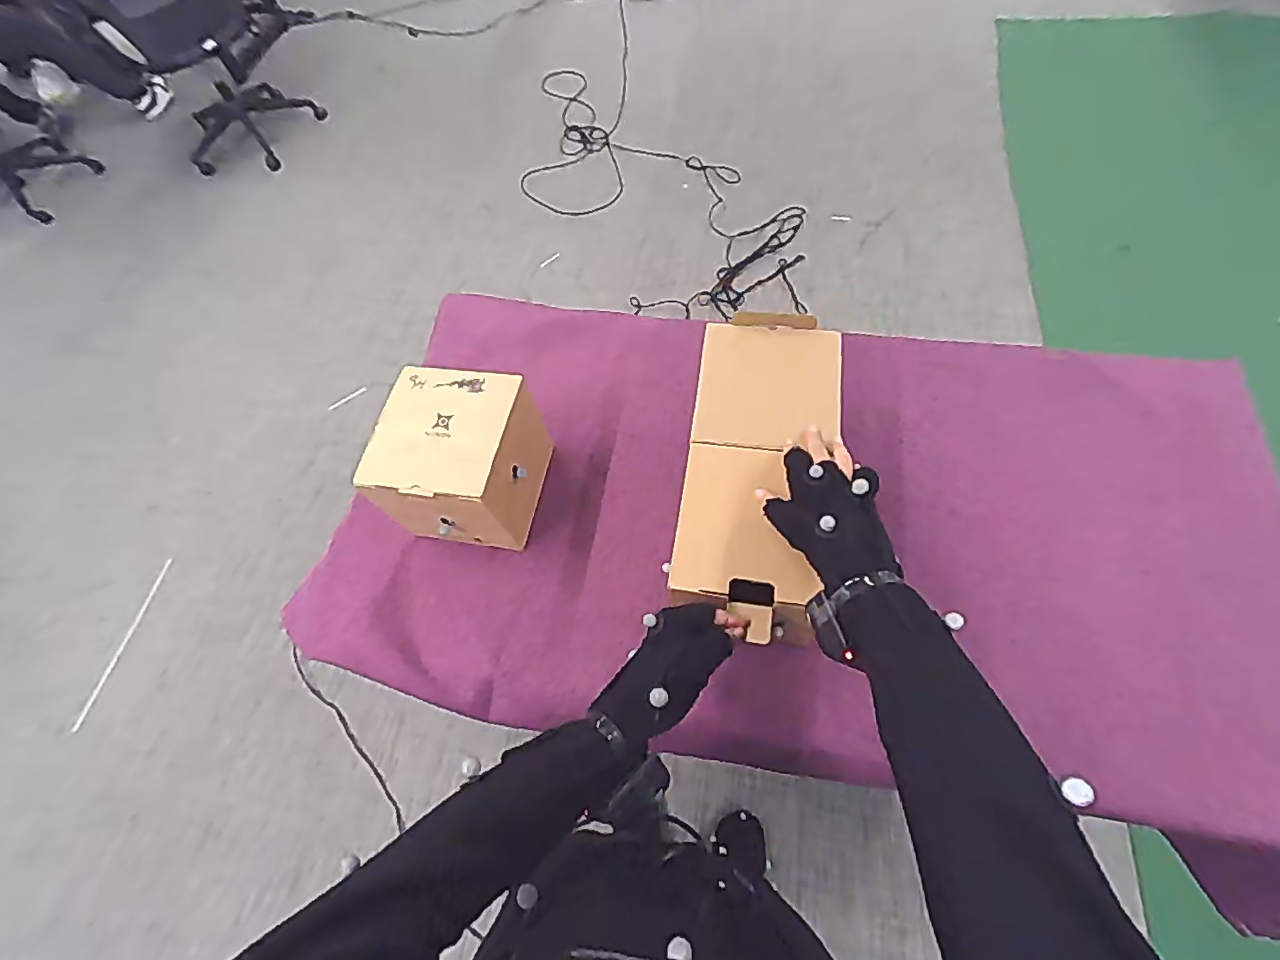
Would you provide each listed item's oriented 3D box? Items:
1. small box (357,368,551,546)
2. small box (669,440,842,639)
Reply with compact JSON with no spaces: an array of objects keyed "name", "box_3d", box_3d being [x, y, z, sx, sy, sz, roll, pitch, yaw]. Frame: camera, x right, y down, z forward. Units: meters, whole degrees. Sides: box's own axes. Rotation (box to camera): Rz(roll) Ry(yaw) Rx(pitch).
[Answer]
[{"name":"small box","box_3d":[-0.230,-0.024,0.723,0.168,0.176,0.179,7,64,9]},{"name":"small box","box_3d":[0.131,0.077,0.632,0.168,0.176,0.179,7,63,9]}]
